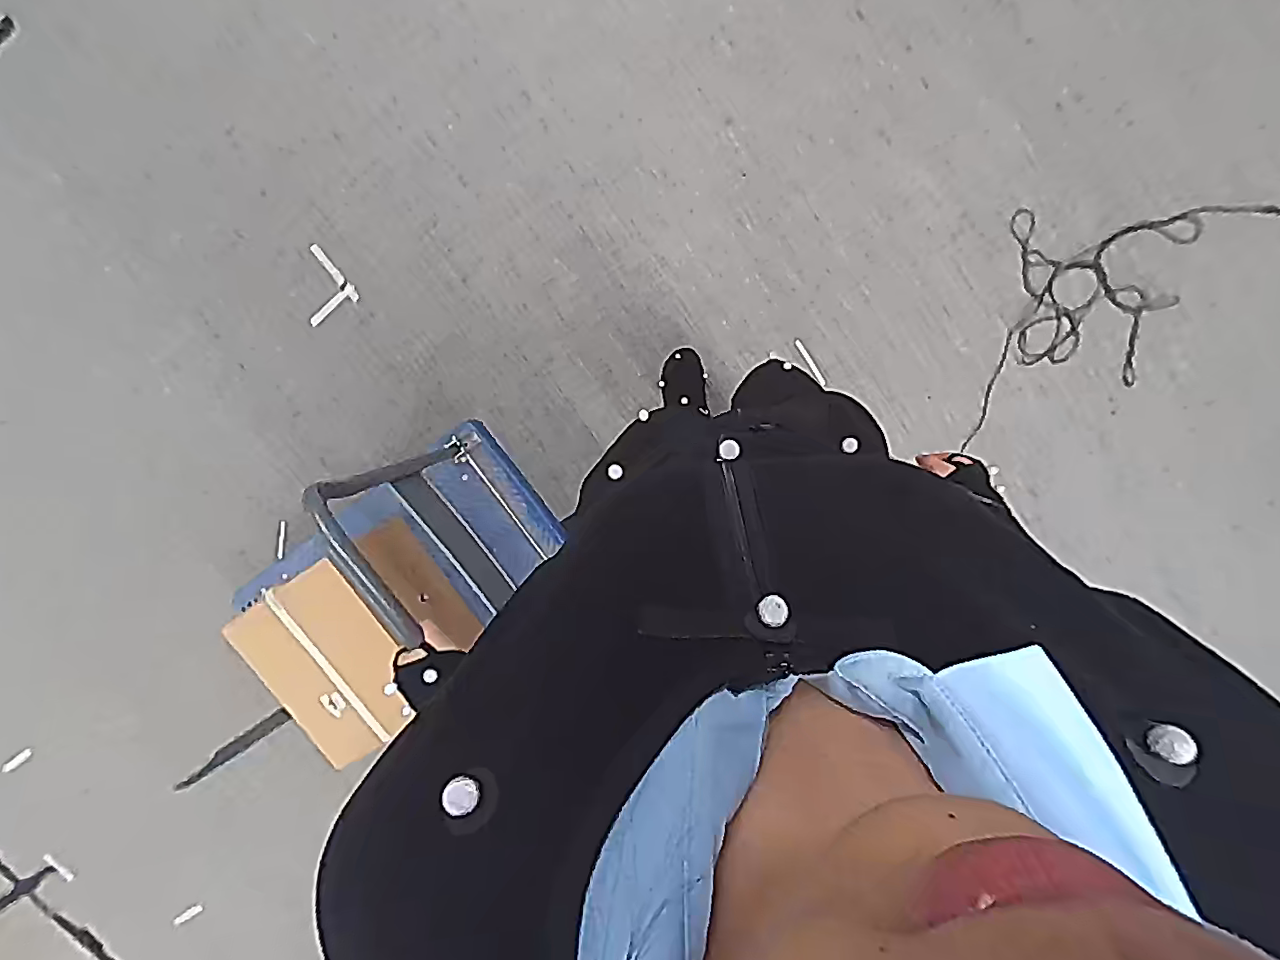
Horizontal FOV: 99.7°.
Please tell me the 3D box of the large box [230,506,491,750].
[{"bbox_3d":[-0.635,0.335,1.303,0.320,0.320,0.408,-32,100,10],"label":"large box"}]
